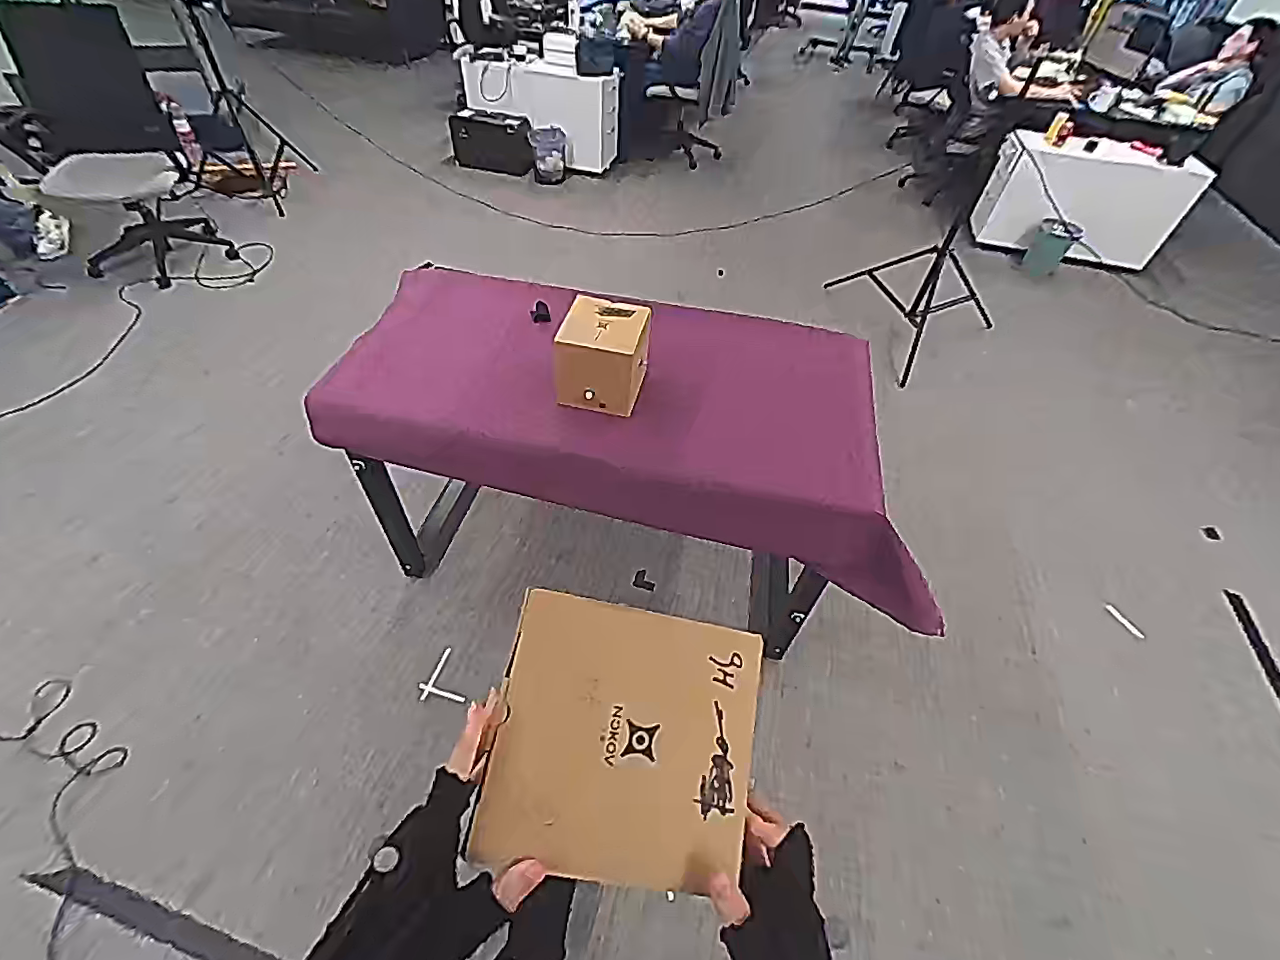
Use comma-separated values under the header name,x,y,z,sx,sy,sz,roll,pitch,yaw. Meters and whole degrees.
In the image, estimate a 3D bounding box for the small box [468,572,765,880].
name,x,y,z,sx,sy,sz,roll,pitch,yaw
small box,-0.019,0.185,0.435,0.179,0.176,0.168,14,69,-6

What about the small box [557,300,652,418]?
name,x,y,z,sx,sy,sz,roll,pitch,yaw
small box,-0.077,-0.263,1.182,0.168,0.176,0.179,11,49,6
